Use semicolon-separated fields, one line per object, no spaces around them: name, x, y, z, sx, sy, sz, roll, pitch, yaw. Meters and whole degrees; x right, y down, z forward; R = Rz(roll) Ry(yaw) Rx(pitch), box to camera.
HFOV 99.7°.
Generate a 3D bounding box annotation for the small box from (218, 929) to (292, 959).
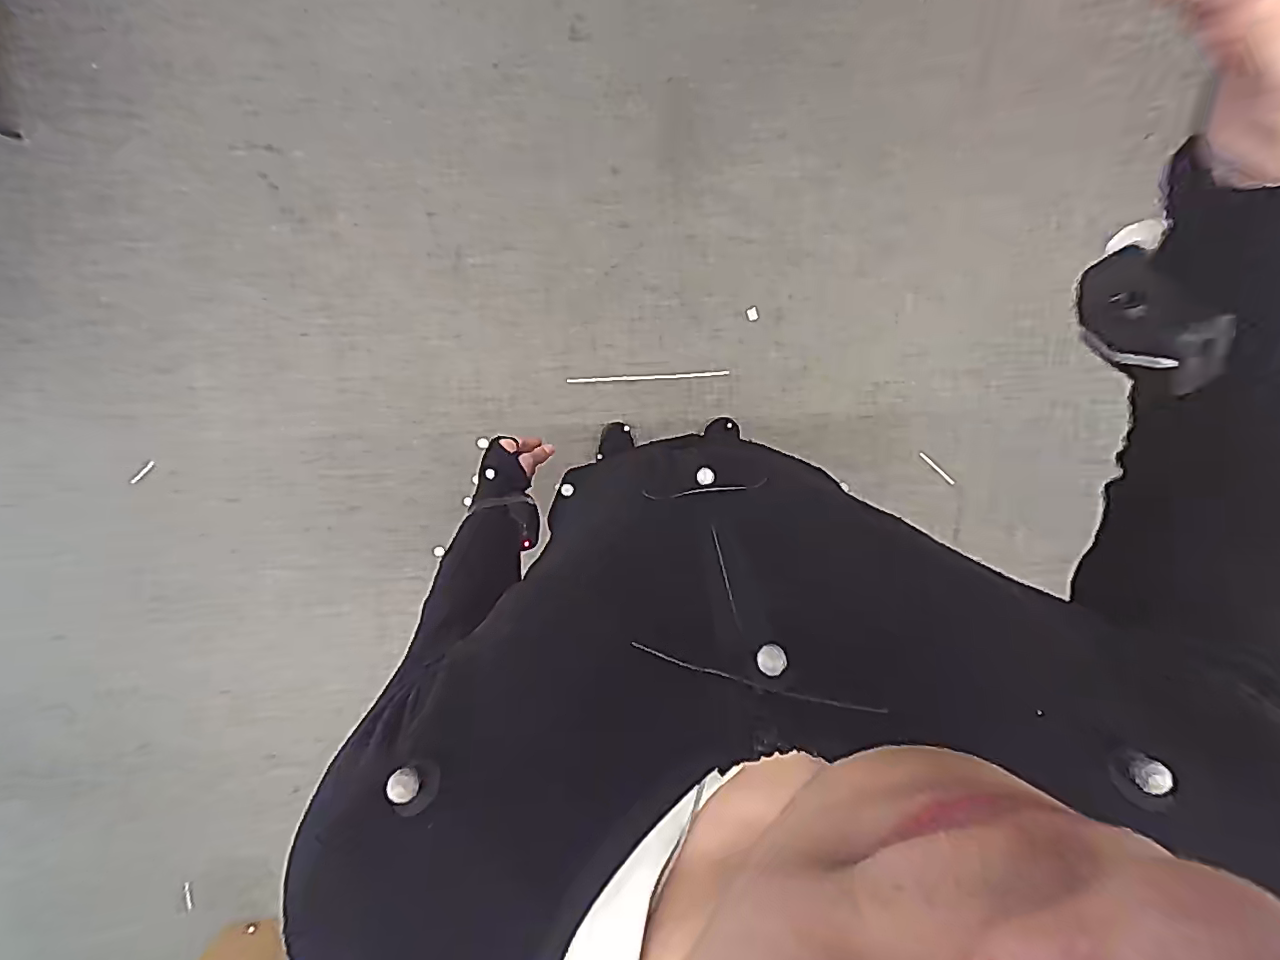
small box;-1.231;1.575;1.711;0.168;0.176;0.179;-3;94;1
